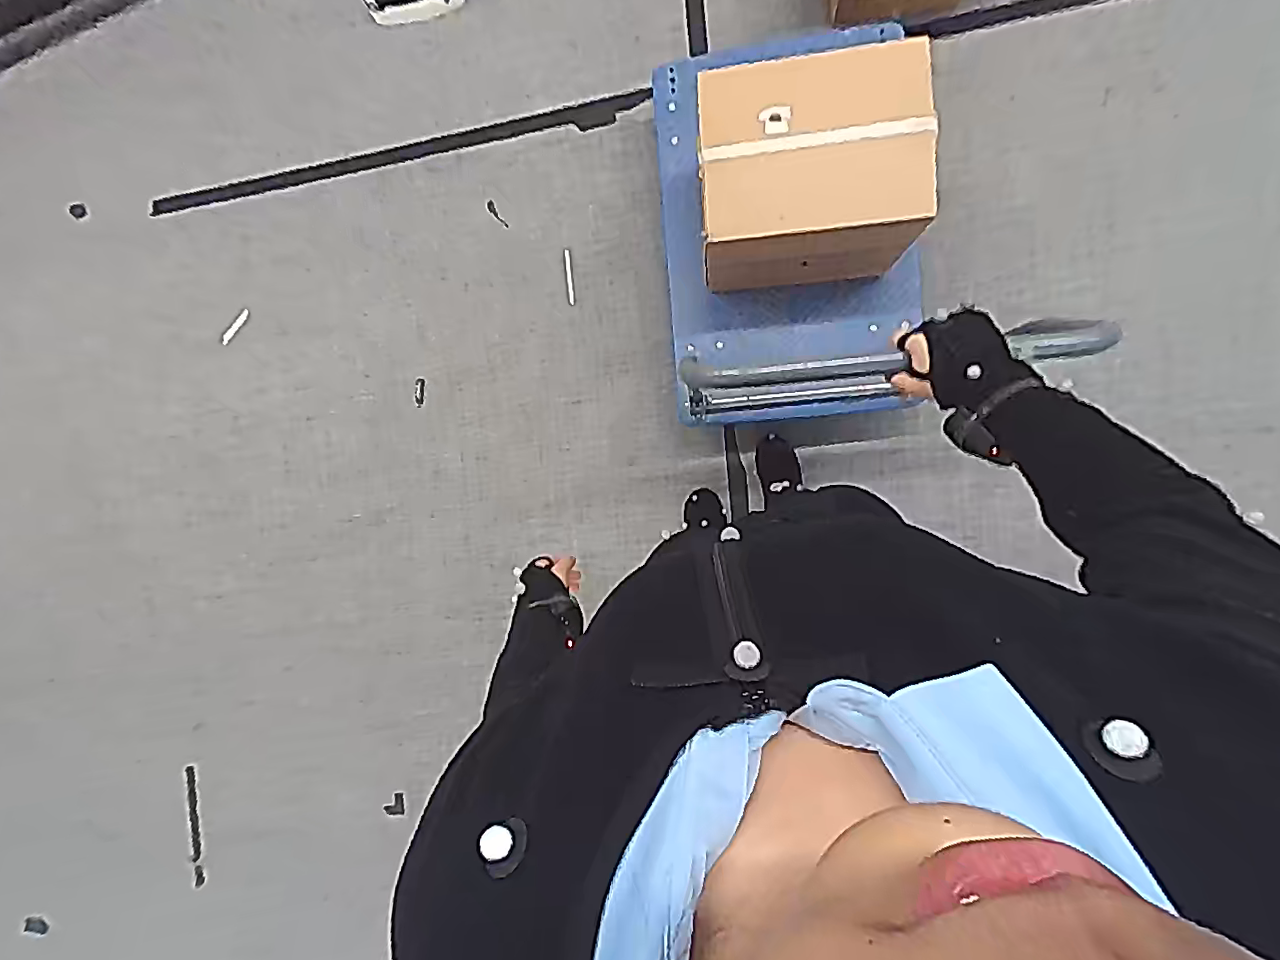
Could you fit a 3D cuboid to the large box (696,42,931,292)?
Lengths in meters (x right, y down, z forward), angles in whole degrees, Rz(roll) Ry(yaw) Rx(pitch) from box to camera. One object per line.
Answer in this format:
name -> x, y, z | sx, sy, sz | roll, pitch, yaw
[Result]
large box -> 0.336, -0.614, 1.135 | 0.408, 0.320, 0.320 | -4, 90, 9
